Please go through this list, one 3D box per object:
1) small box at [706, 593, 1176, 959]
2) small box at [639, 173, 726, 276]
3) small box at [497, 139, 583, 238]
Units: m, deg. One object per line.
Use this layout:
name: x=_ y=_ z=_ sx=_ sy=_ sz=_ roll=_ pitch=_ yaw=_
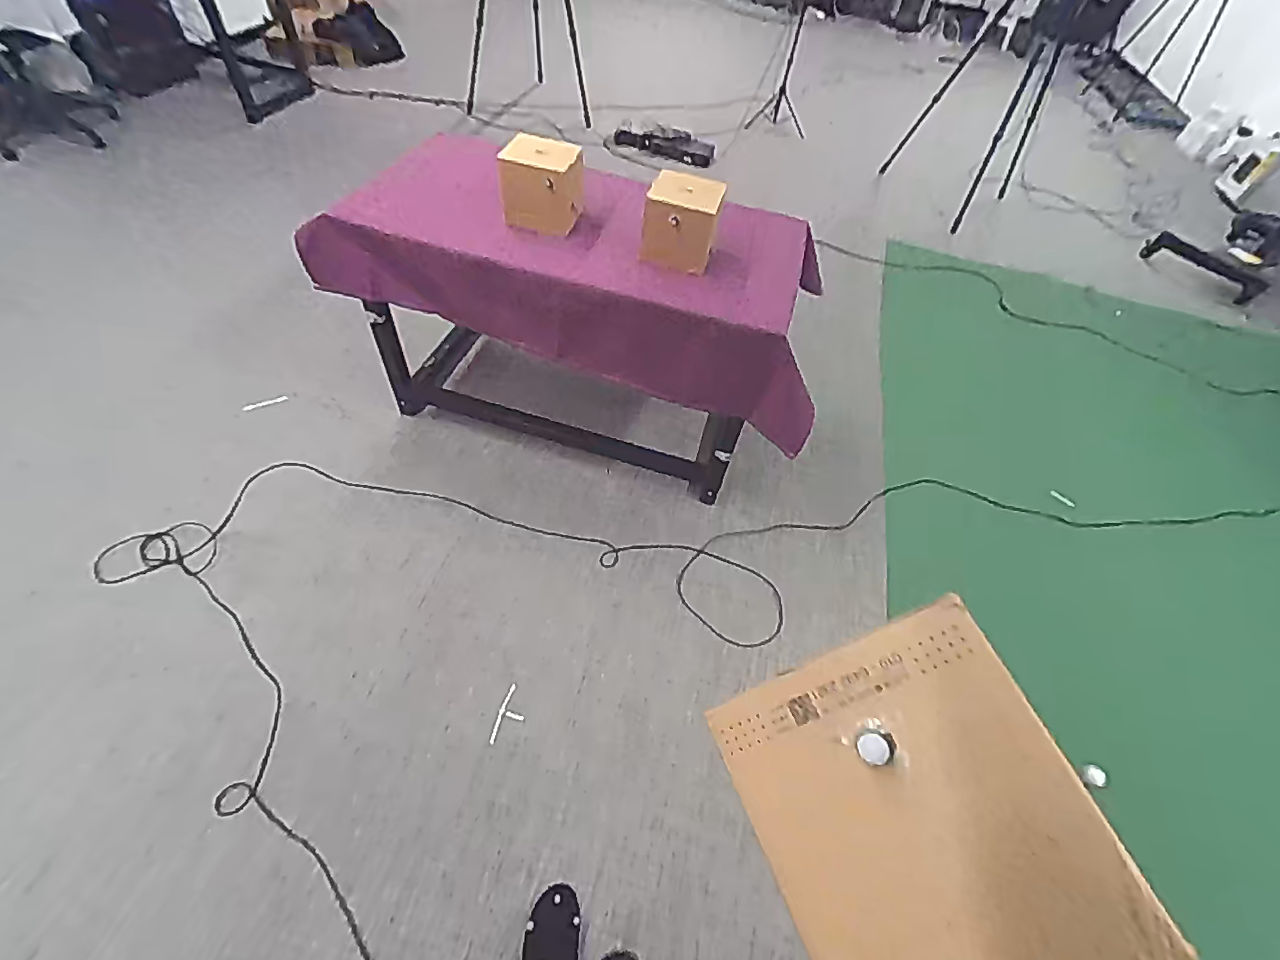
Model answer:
small box: x=0.172 y=0.185 z=0.358 sx=0.168 sy=0.179 sz=0.176 roll=-34 pitch=65 yaw=18
small box: x=0.104 y=-0.648 z=1.382 sx=0.179 sy=0.176 sz=0.168 roll=17 pitch=53 yaw=5
small box: x=-0.259 y=-0.765 z=1.425 sx=0.179 sy=0.176 sz=0.168 roll=14 pitch=52 yaw=2
